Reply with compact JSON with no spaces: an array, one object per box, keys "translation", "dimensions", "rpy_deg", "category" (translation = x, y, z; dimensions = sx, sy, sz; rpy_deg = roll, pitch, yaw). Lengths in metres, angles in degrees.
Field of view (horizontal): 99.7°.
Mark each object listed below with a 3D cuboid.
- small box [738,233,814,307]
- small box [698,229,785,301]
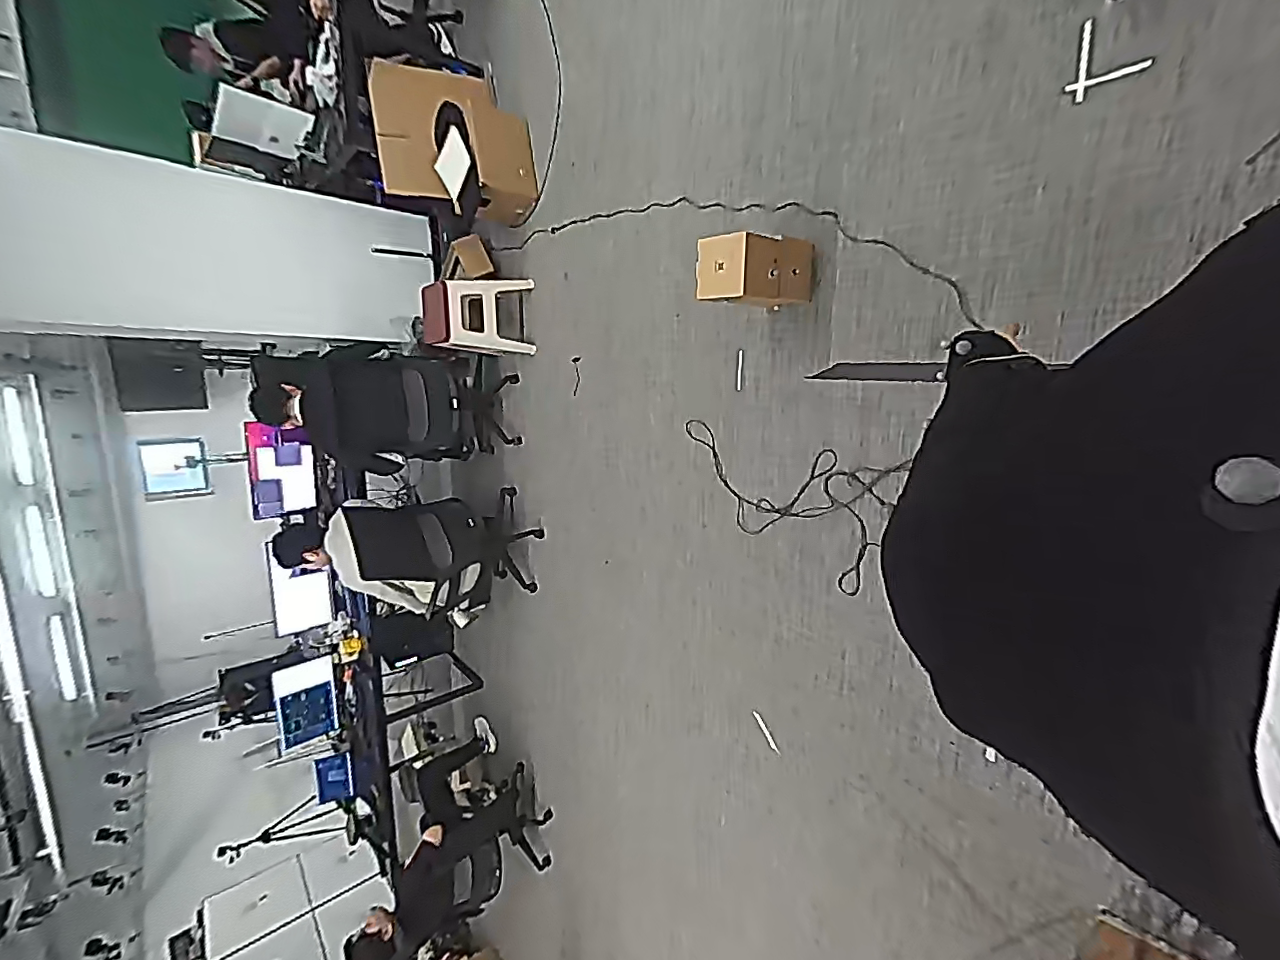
[{"translation":[0.414,-0.632,1.648],"dimensions":[0.168,0.176,0.179],"rpy_deg":[11,107,48],"category":"small box"},{"translation":[0.288,-0.606,1.547],"dimensions":[0.179,0.176,0.168],"rpy_deg":[14,110,46],"category":"small box"}]
